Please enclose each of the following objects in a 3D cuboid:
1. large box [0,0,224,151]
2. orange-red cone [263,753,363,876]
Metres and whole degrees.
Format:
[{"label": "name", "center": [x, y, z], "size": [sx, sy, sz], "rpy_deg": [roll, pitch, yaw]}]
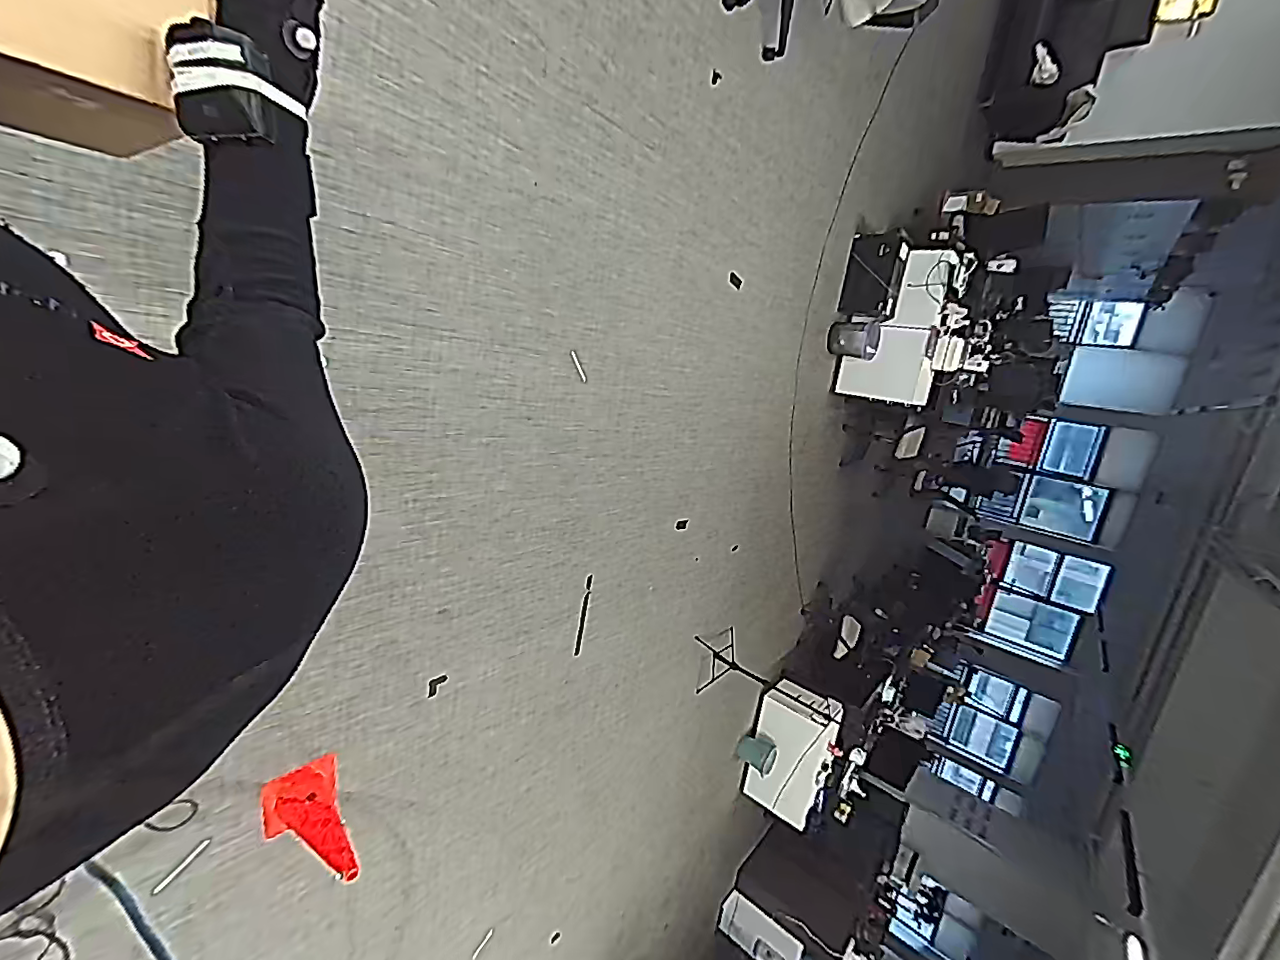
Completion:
[{"label": "large box", "center": [-0.532, -0.431, 0.299], "size": [0.408, 0.320, 0.320], "rpy_deg": [-10, 114, -52]}, {"label": "orange-red cone", "center": [-0.886, 0.984, 1.527], "size": [0.198, 0.360, 0.199], "rpy_deg": [-11, 112, -51]}]
